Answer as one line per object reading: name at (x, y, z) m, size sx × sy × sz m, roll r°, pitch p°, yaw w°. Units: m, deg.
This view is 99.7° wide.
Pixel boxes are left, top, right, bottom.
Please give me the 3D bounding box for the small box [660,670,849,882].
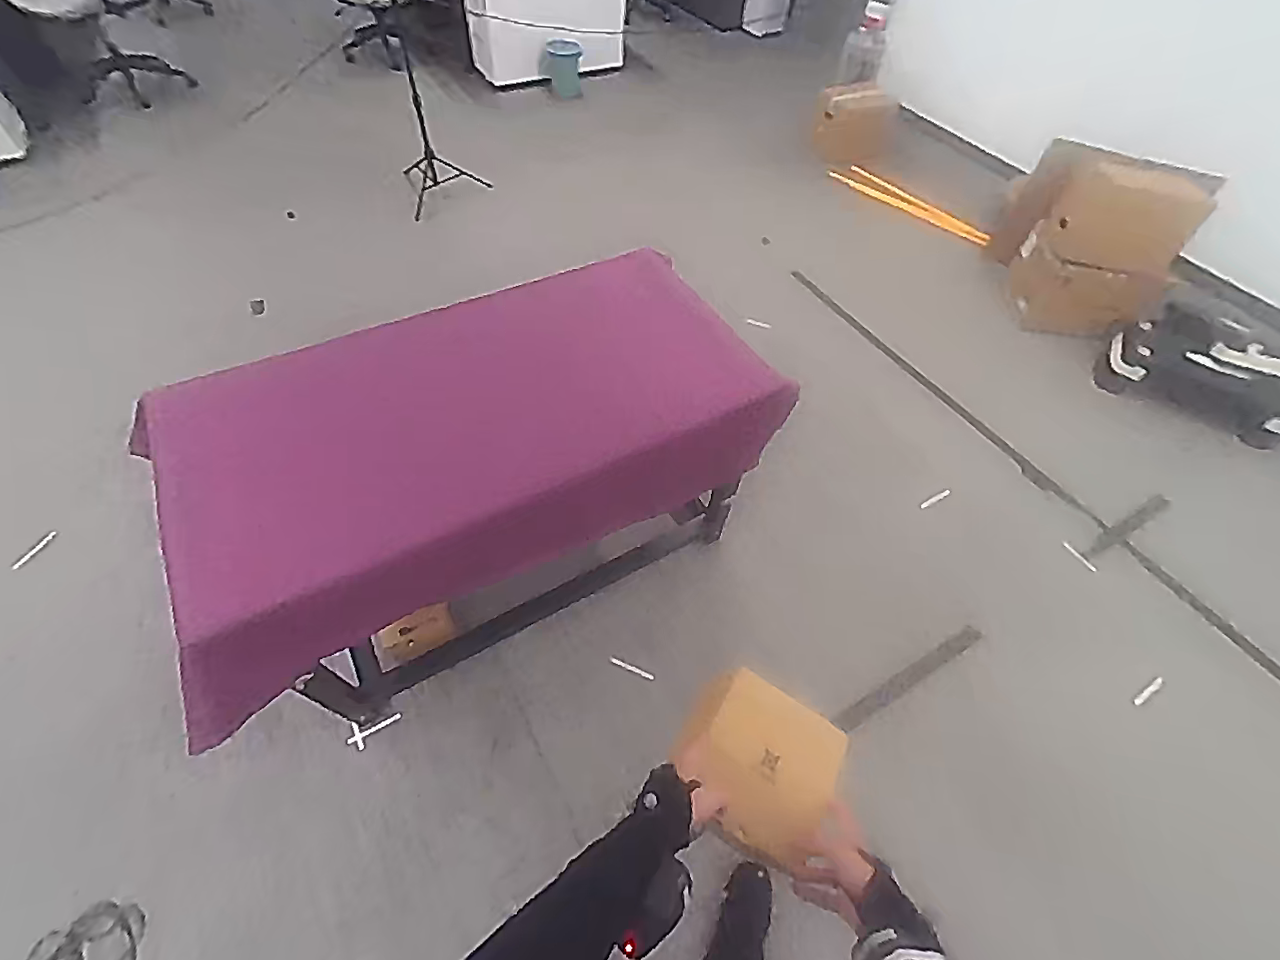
small box at (0.144, 0.387, 0.728) m, size 0.168 × 0.176 × 0.179 m, roll 31°, pitch 61°, yaw 6°
